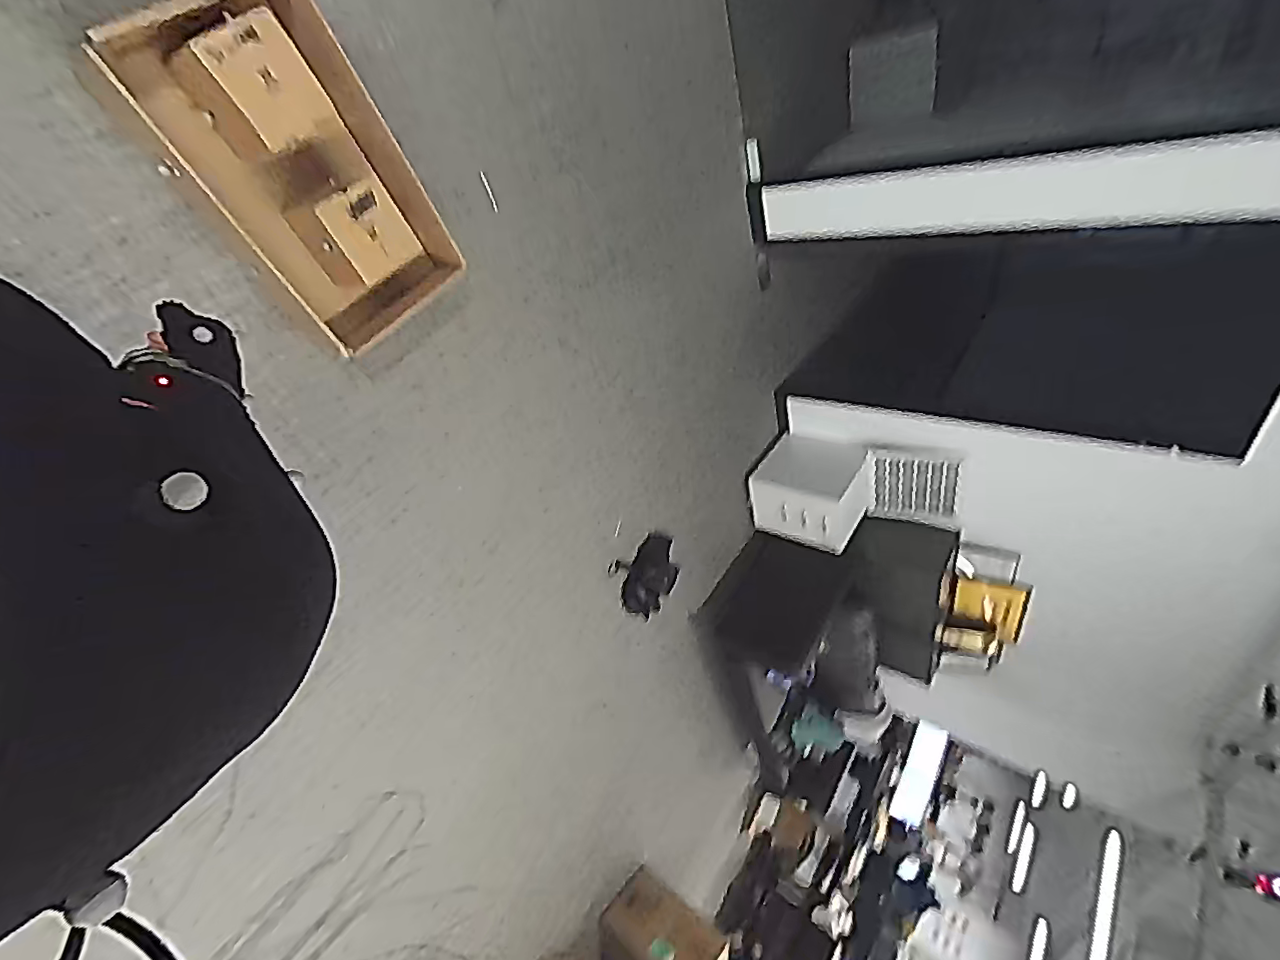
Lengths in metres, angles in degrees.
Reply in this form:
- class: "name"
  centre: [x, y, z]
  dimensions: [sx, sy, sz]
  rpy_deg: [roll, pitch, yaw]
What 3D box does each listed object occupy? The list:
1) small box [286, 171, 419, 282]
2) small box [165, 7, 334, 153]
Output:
- class: "small box"
  centre: [-0.653, -0.568, 1.228]
  dimensions: [0.168, 0.176, 0.179]
  rpy_deg: [-51, 138, -27]
- class: "small box"
  centre: [-0.744, -0.754, 1.037]
  dimensions: [0.168, 0.176, 0.179]
  rpy_deg: [-55, 141, -24]
